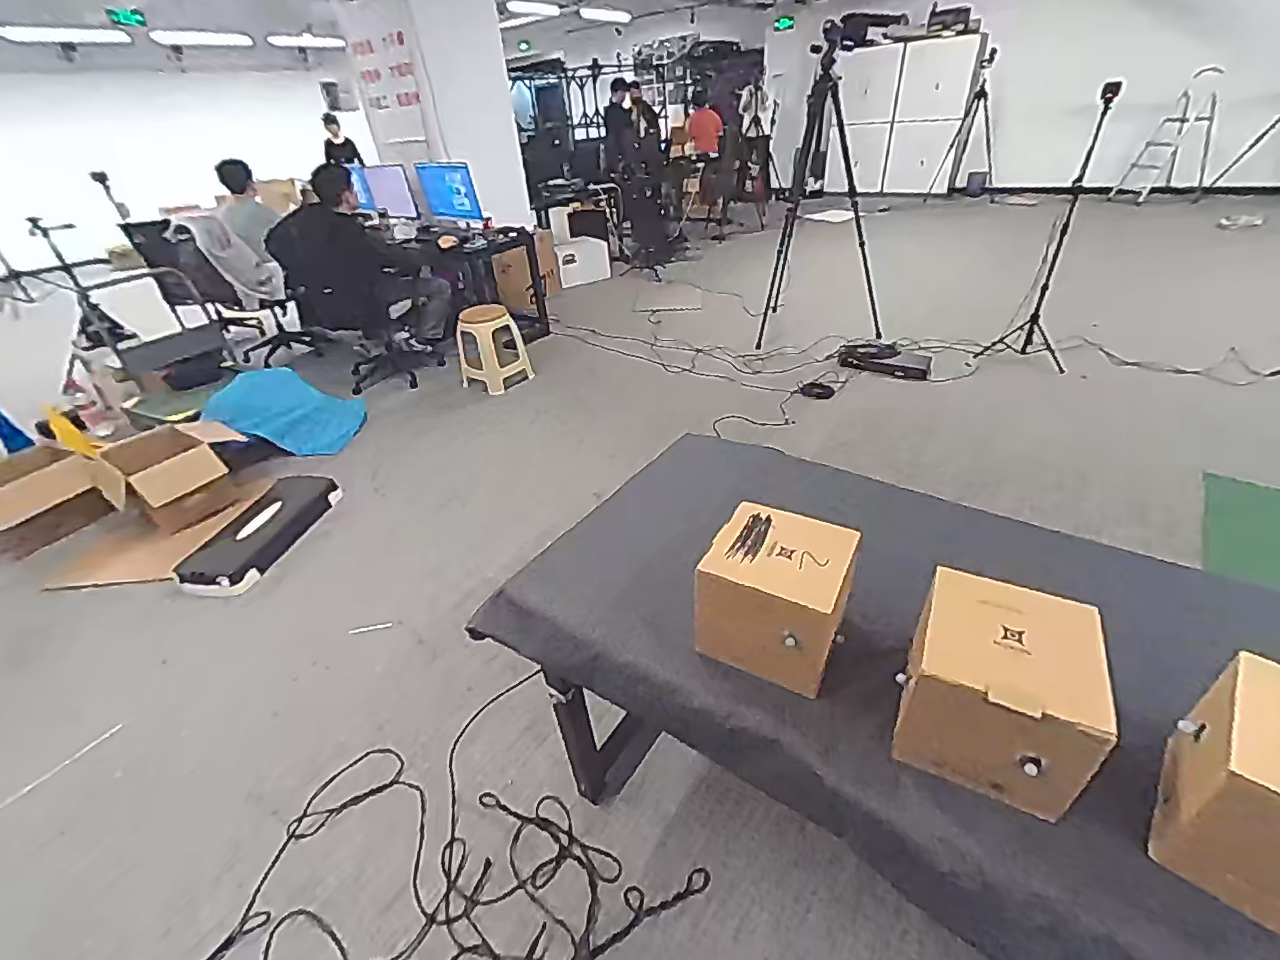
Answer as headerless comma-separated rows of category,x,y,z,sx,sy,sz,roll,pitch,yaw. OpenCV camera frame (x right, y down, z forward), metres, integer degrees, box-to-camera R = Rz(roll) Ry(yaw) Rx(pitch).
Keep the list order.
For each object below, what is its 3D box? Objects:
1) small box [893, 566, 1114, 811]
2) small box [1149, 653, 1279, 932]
small box,0.405,0.237,0.627,0.168,0.176,0.179,15,38,25
small box,0.620,0.305,0.498,0.179,0.176,0.168,25,44,37
